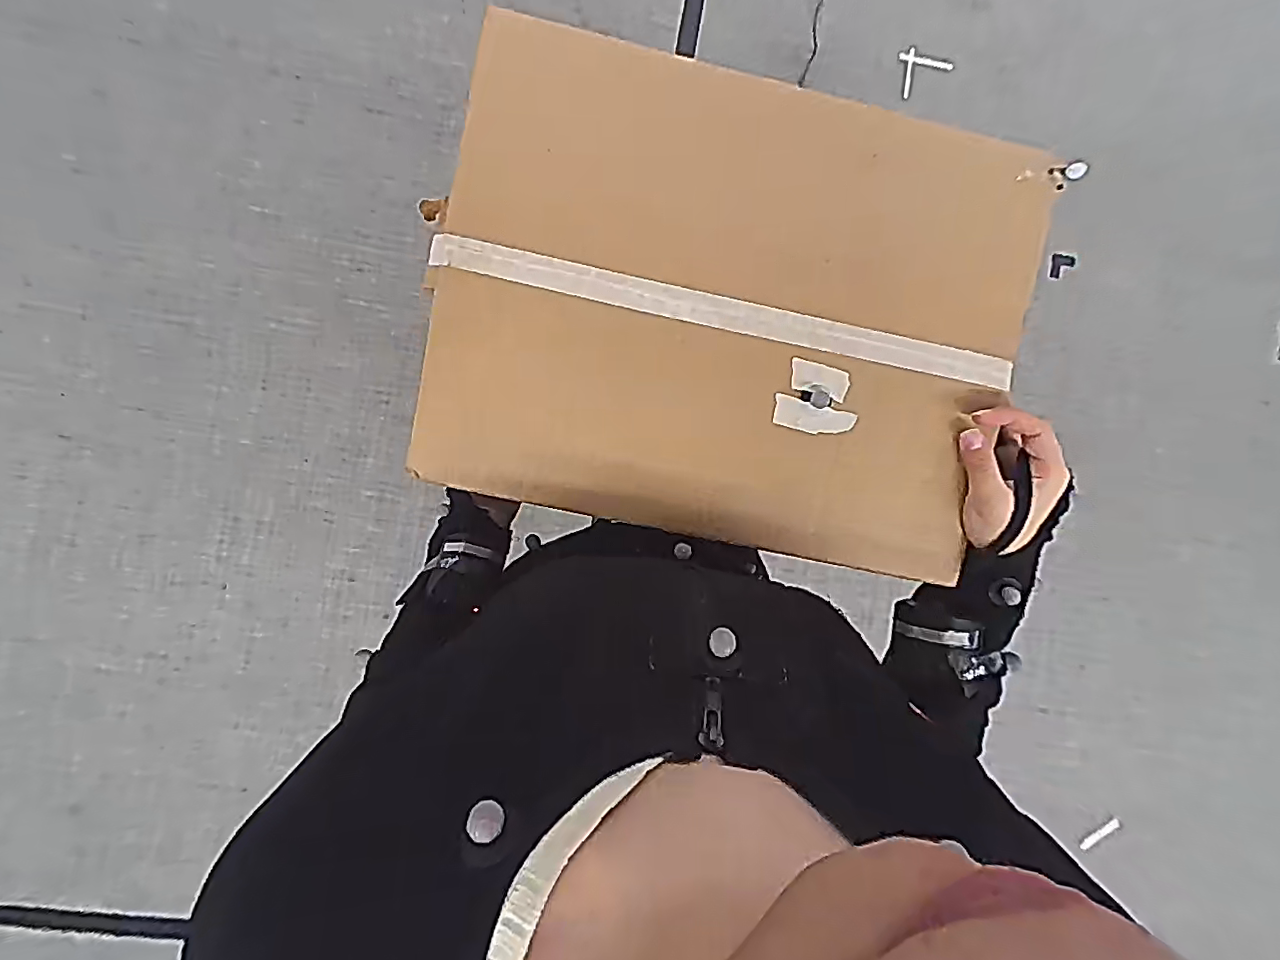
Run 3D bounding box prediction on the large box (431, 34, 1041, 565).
[{"bbox_3d":[0.060,-0.128,0.533,0.408,0.320,0.320,11,95,-5],"label":"large box"}]
